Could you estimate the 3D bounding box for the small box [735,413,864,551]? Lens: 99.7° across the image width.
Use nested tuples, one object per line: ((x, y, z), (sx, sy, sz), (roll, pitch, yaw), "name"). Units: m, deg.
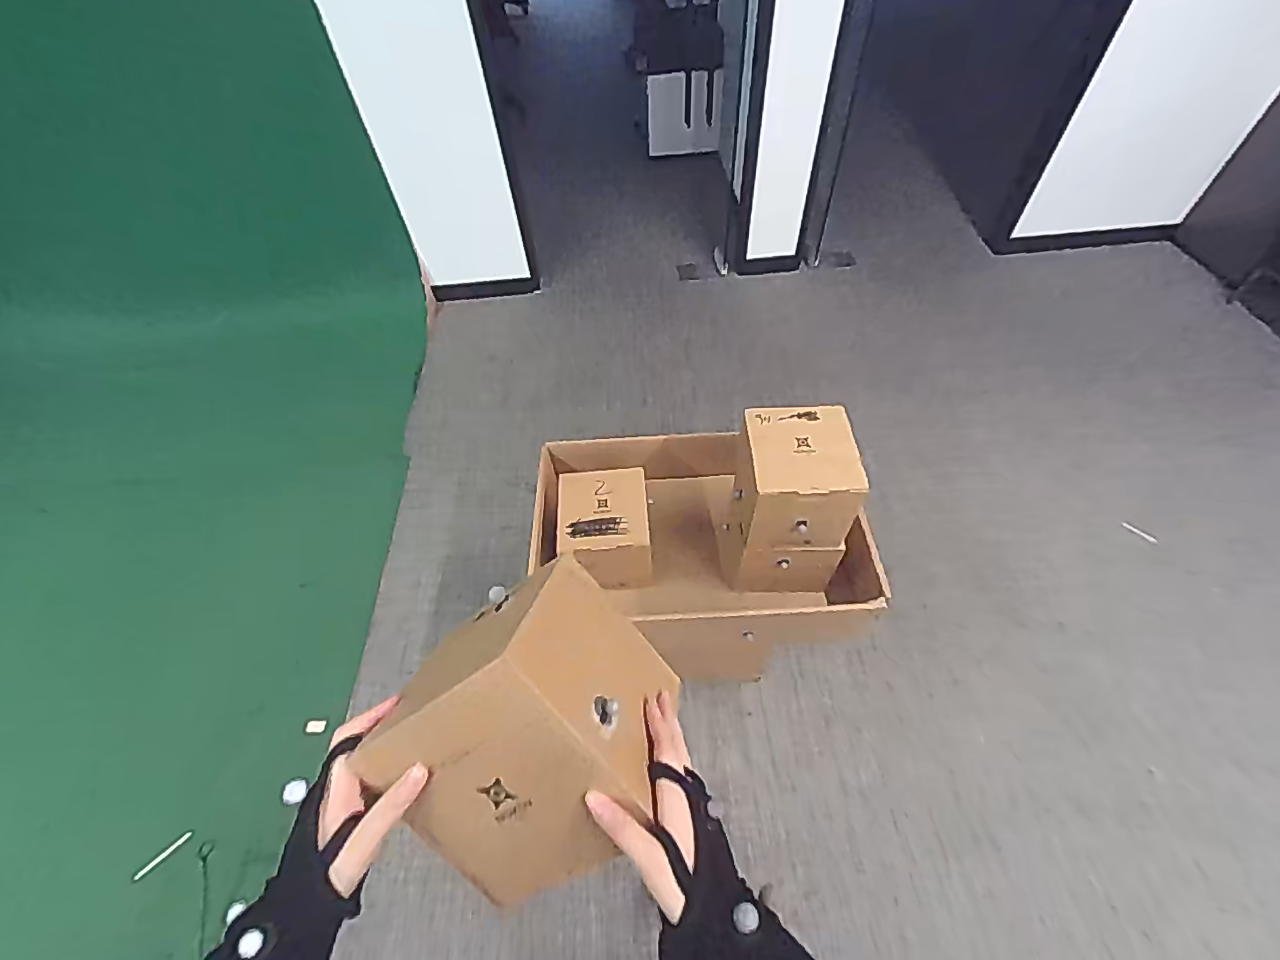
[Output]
((0.254, 0.009, 0.908), (0.168, 0.176, 0.179), (-1, 53, 2), "small box")
